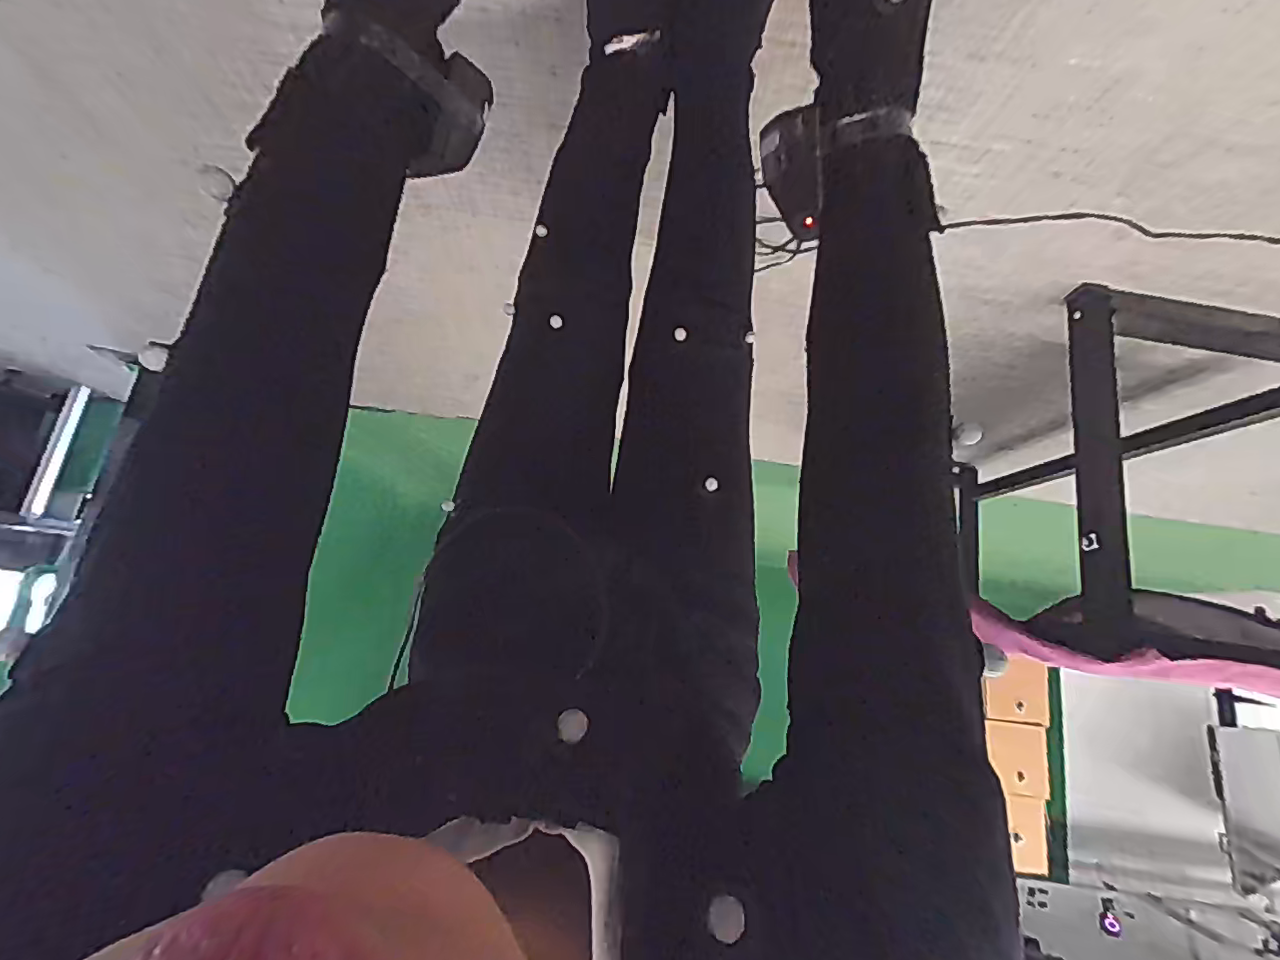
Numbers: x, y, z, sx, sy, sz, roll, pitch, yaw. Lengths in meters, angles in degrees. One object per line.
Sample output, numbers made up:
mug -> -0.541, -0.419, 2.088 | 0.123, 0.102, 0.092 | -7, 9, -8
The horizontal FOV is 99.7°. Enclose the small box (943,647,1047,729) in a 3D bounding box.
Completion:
small box -> 0.949, 0.552, 1.453 | 0.179, 0.176, 0.168 | 10, 165, -5

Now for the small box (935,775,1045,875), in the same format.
small box -> 0.878, 0.862, 1.370 | 0.179, 0.176, 0.168 | 9, 165, -5

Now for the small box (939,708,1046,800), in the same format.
small box -> 0.911, 0.705, 1.408 | 0.179, 0.176, 0.168 | 10, 165, -4
